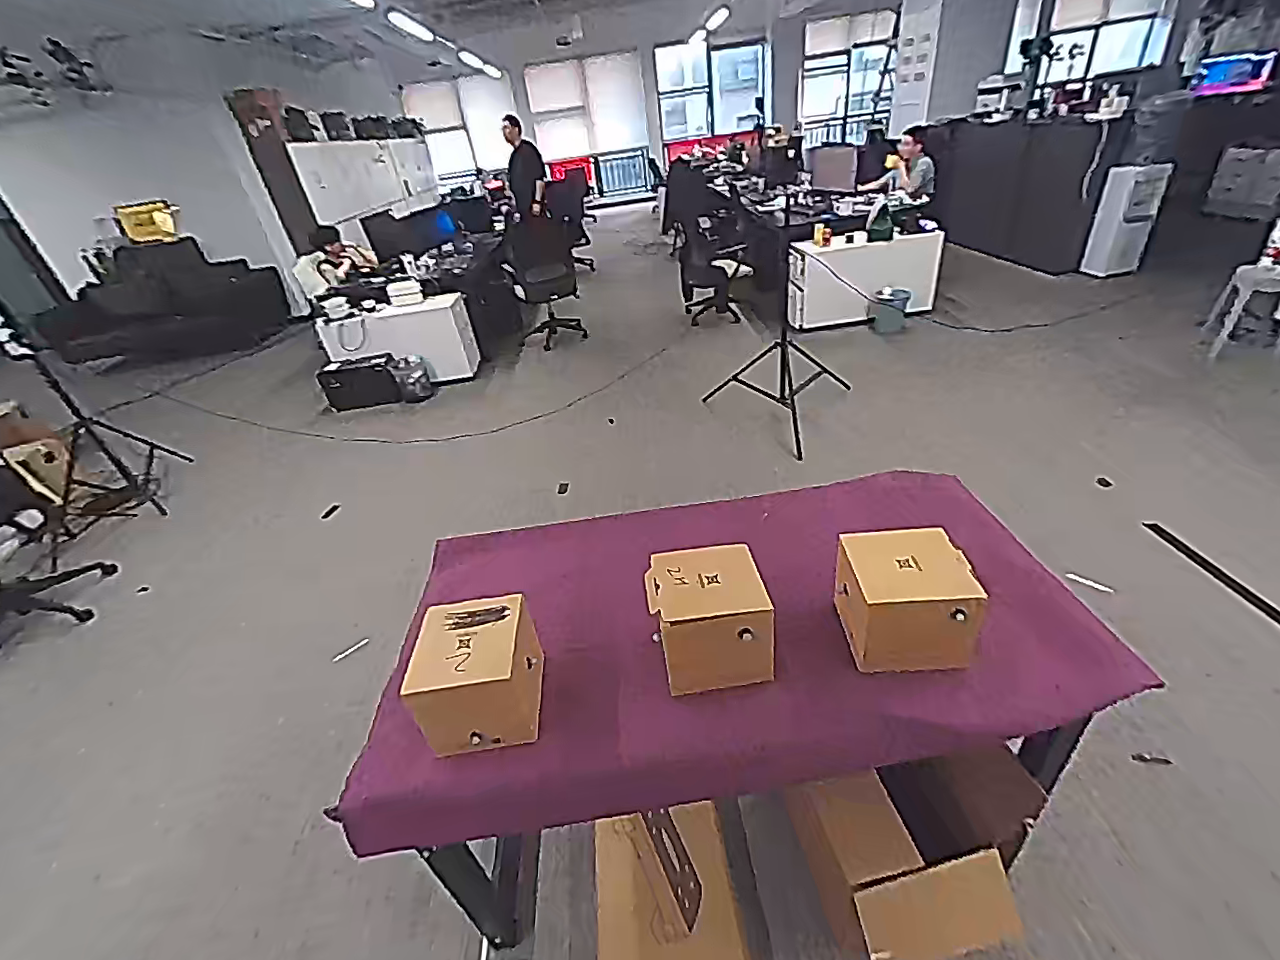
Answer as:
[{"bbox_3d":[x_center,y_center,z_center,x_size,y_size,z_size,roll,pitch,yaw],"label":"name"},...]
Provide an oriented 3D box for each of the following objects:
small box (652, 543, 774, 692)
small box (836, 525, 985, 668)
[{"bbox_3d":[0.121,0.234,0.925,0.179,0.176,0.168,-9,31,-1],"label":"small box"},{"bbox_3d":[0.437,0.197,0.909,0.179,0.176,0.168,-5,33,5],"label":"small box"}]
